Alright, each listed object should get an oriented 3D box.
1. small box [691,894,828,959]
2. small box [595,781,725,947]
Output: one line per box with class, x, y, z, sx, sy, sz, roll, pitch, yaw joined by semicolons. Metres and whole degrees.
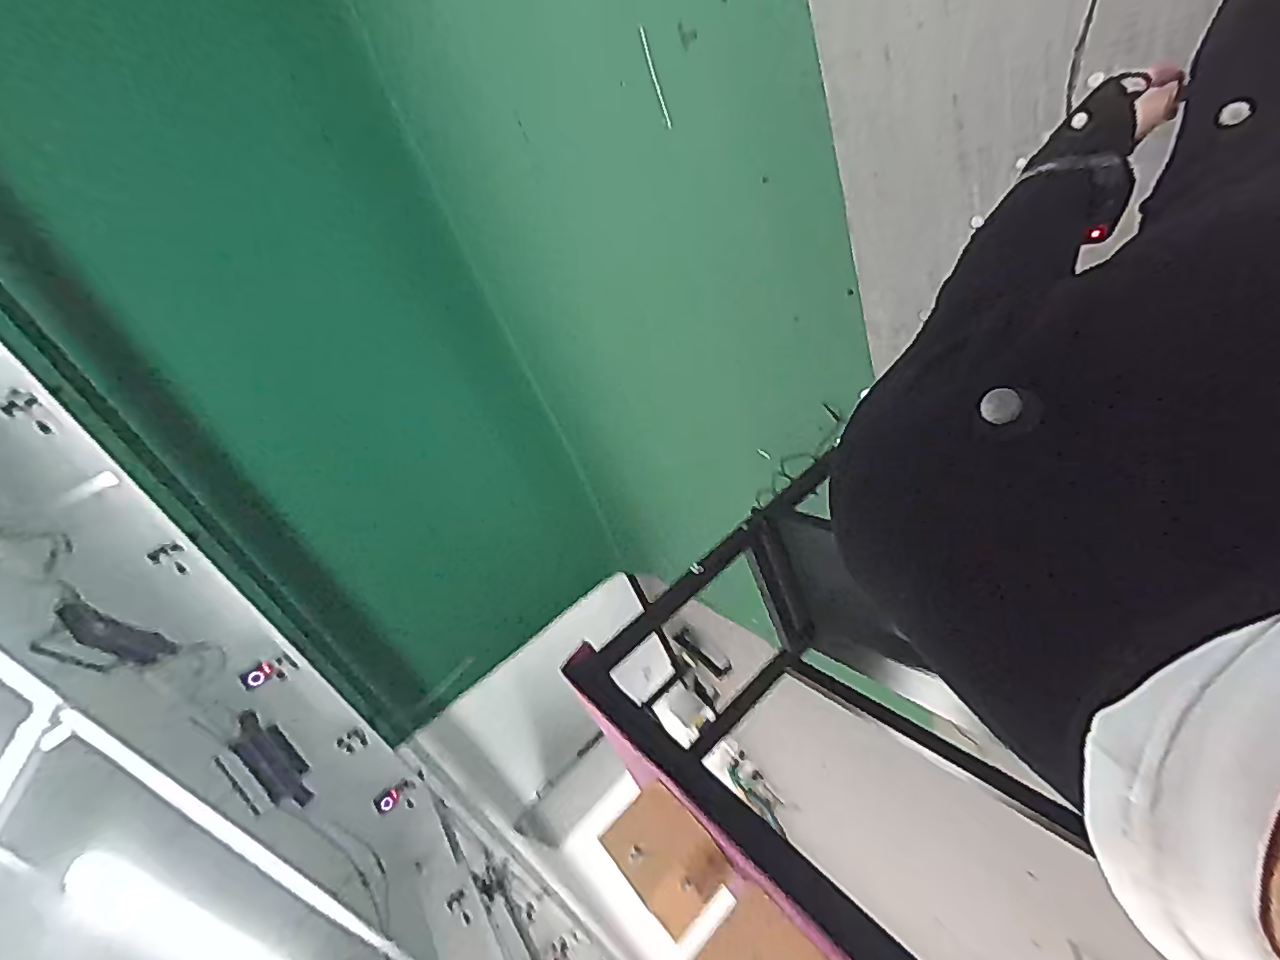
small box;0.206;0.803;0.851;0.179;0.176;0.168;20;141;50
small box;0.048;0.746;1.069;0.179;0.176;0.168;18;138;53
